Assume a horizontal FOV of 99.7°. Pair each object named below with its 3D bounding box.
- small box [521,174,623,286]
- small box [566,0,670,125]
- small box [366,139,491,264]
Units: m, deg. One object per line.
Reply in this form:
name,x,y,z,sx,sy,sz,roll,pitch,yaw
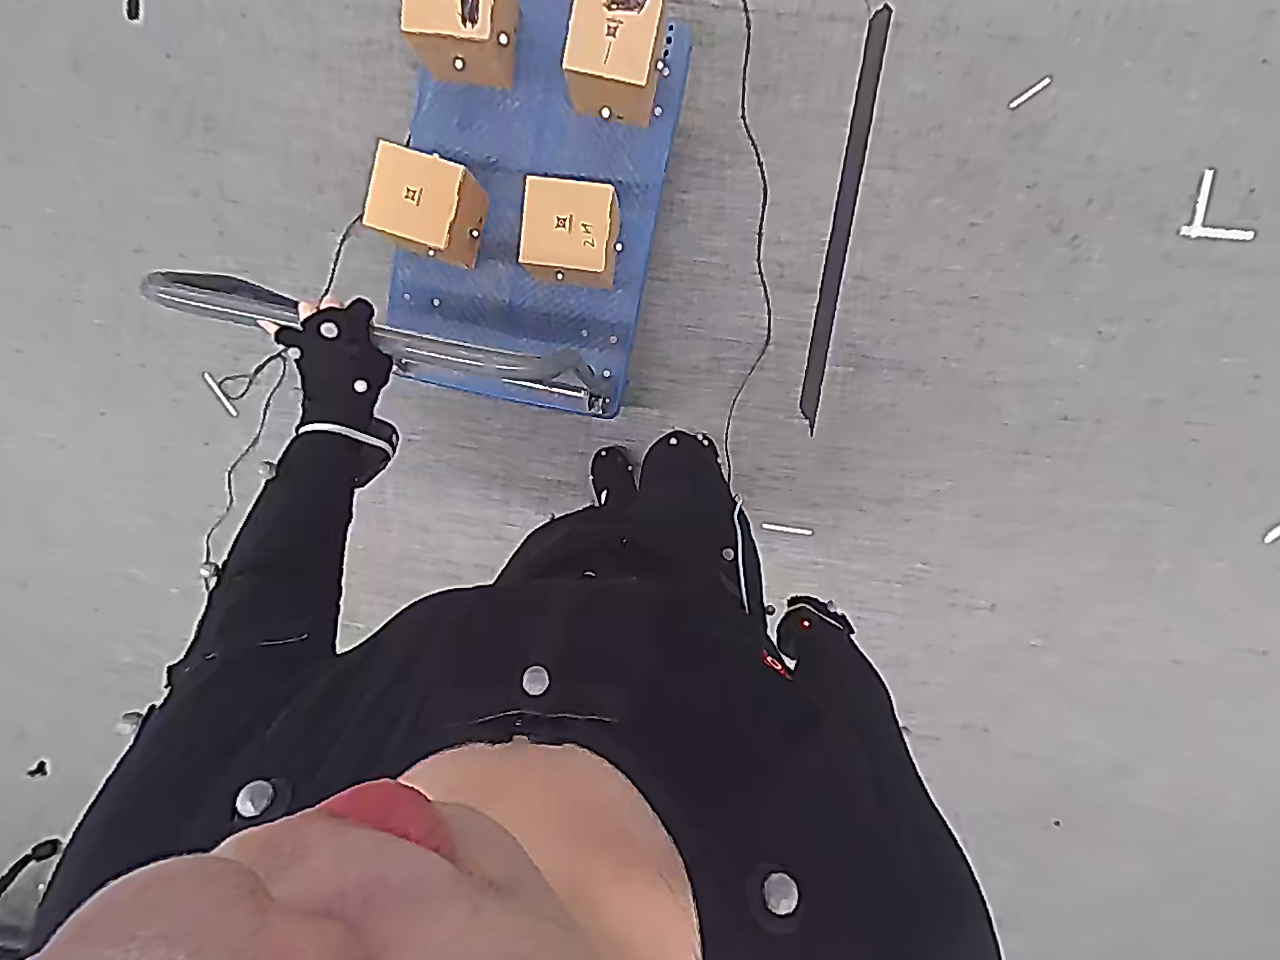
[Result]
small box,-0.137,-0.518,1.141,0.179,0.176,0.168,8,99,2
small box,-0.040,-0.862,1.087,0.168,0.176,0.179,13,100,1
small box,-0.440,-0.577,1.147,0.179,0.176,0.168,17,98,-2
